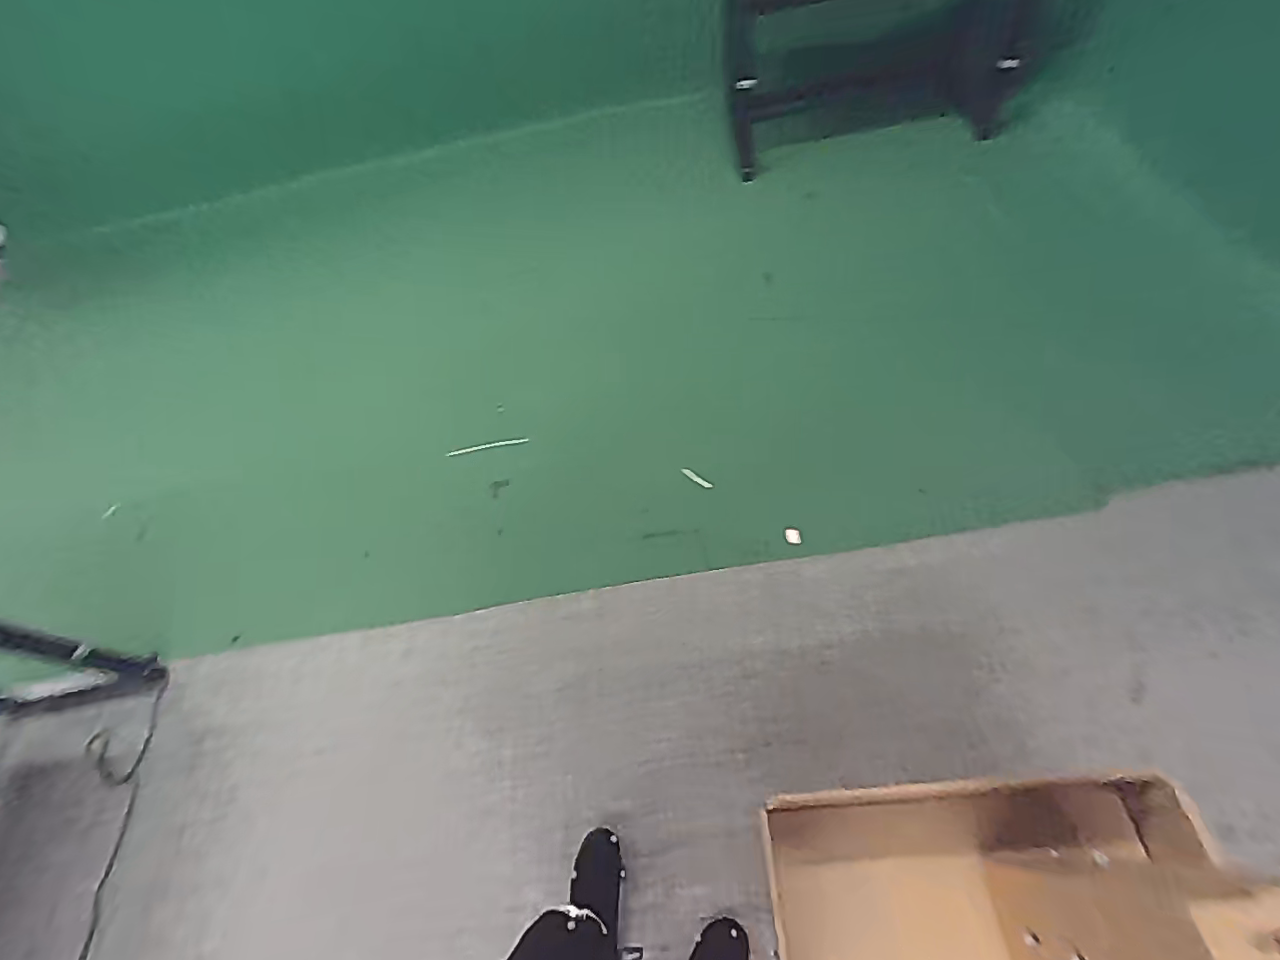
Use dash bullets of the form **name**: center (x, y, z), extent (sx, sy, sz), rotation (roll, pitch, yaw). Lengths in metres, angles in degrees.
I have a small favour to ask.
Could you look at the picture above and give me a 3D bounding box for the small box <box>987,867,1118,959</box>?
- **small box**: center (0.627, 0.656, 0.753), extent (0.168, 0.176, 0.179), rotation (-7, 57, 6)
